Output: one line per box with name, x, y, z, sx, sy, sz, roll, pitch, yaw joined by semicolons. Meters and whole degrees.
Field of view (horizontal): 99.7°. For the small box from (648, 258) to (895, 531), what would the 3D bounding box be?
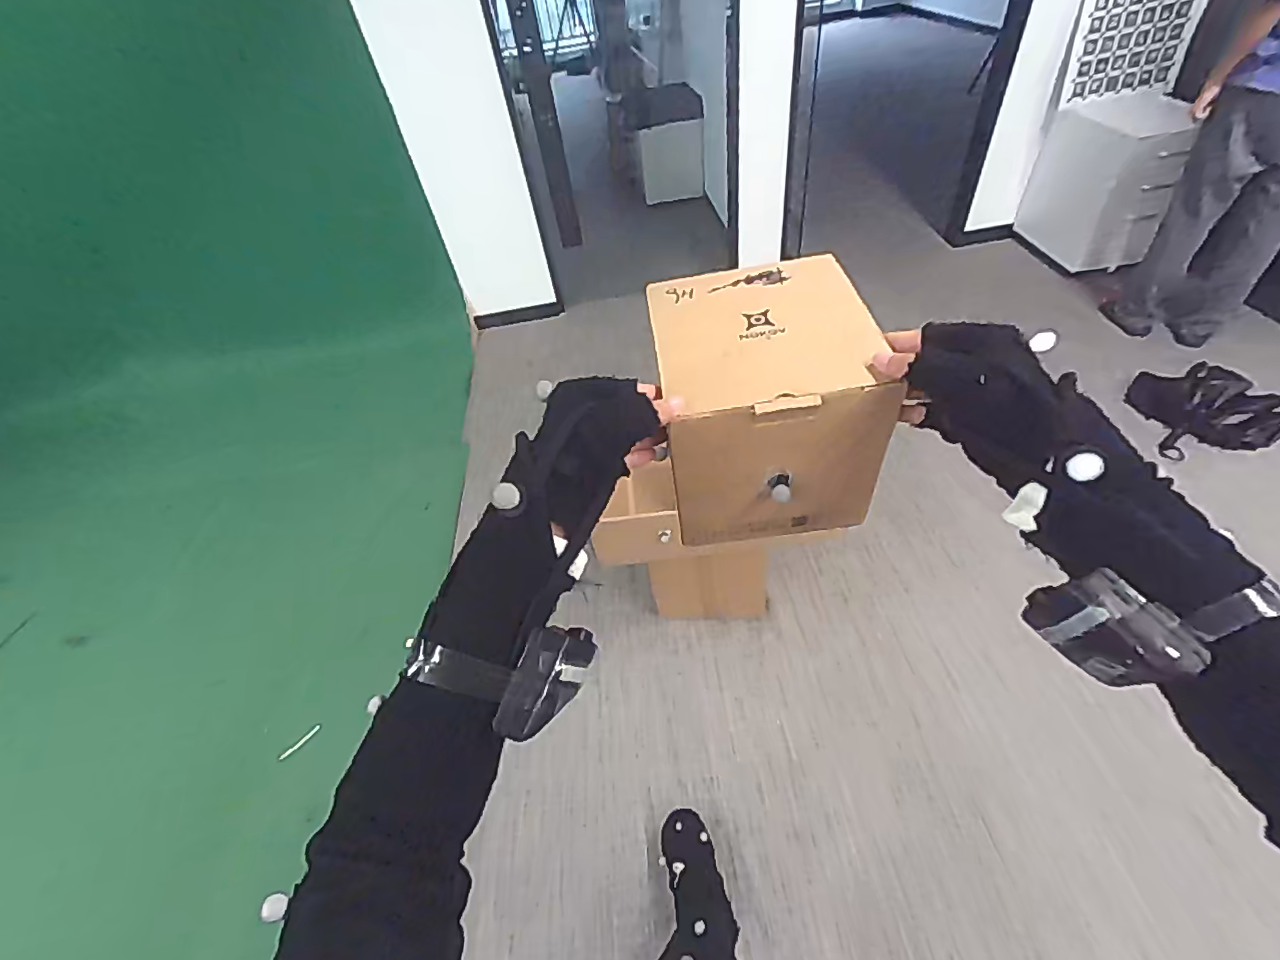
small box;0.104;-0.067;0.489;0.168;0.176;0.179;-8;50;3
